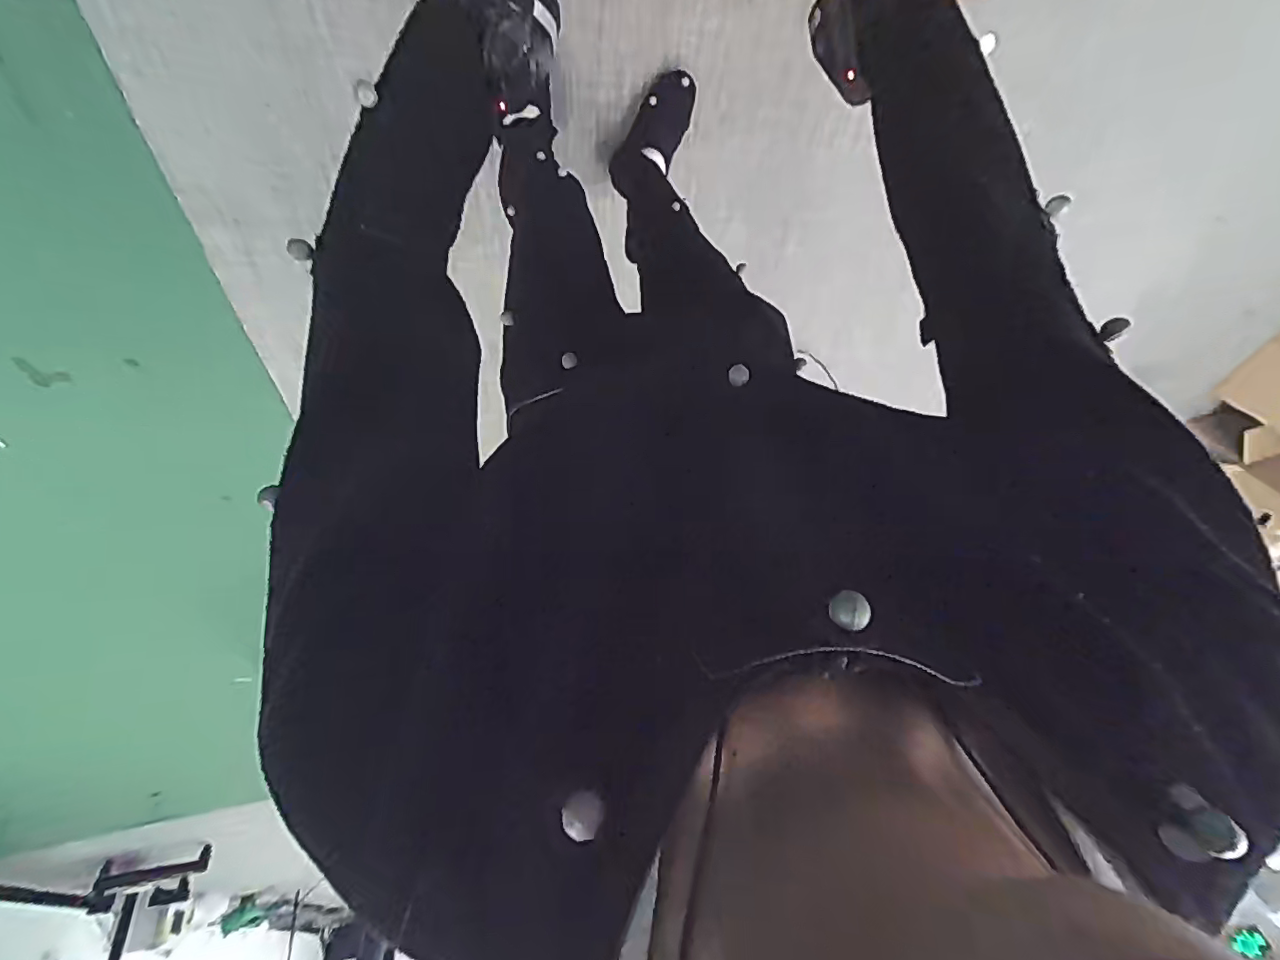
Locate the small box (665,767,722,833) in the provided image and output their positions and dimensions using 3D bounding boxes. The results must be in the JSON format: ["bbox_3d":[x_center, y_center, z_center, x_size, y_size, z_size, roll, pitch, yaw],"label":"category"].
[{"bbox_3d":[0.198,1.222,2.075,0.168,0.176,0.179,-6,137,-12],"label":"small box"}]
